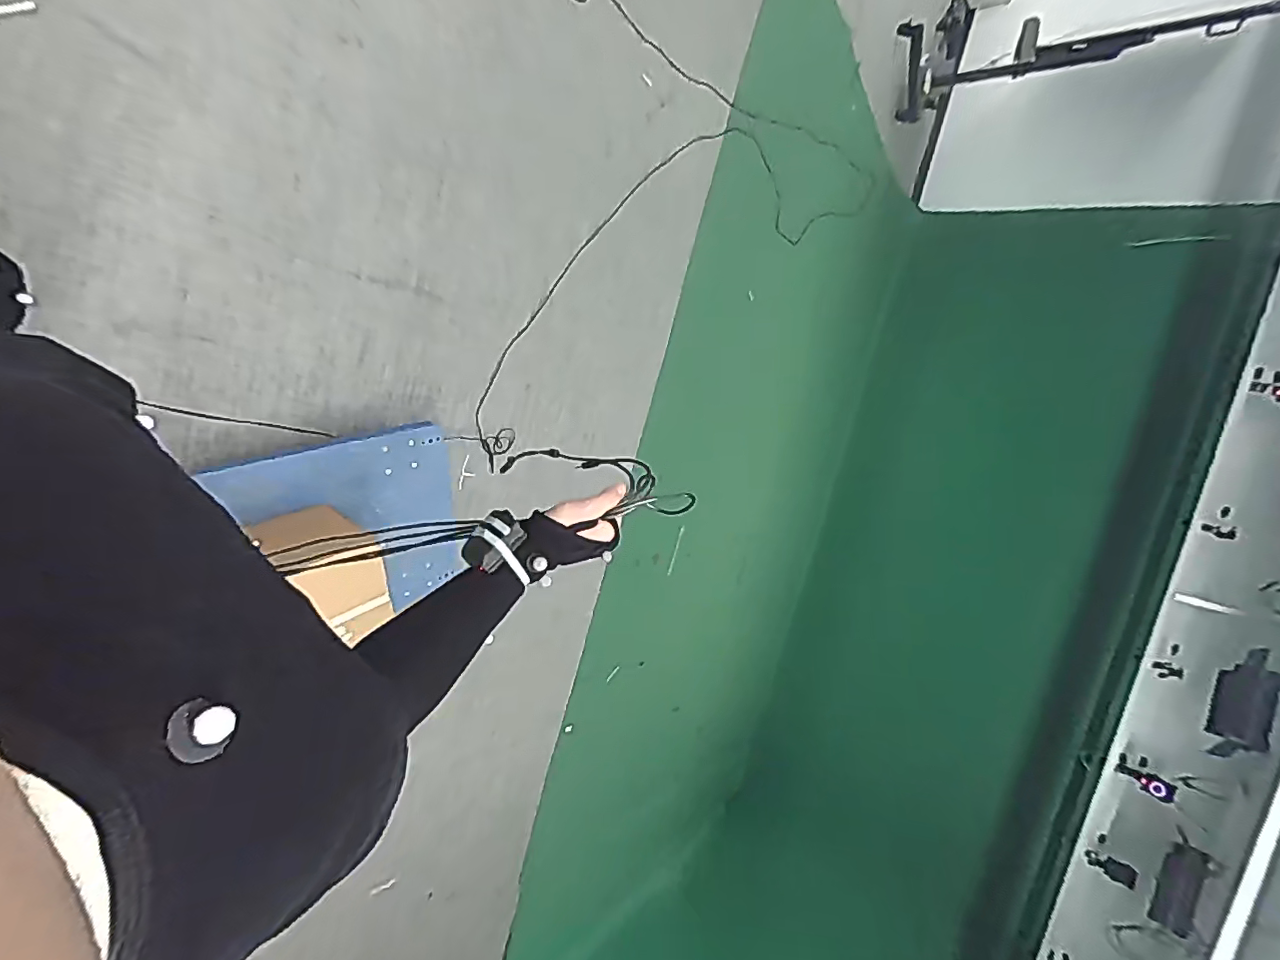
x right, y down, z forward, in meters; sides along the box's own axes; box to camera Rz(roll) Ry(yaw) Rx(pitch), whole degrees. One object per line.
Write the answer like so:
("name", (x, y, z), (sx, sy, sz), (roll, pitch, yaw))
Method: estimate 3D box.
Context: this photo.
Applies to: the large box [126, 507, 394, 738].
("large box", (-0.869, 0.298, 1.274), (0.408, 0.320, 0.320), (-24, 124, -47))
